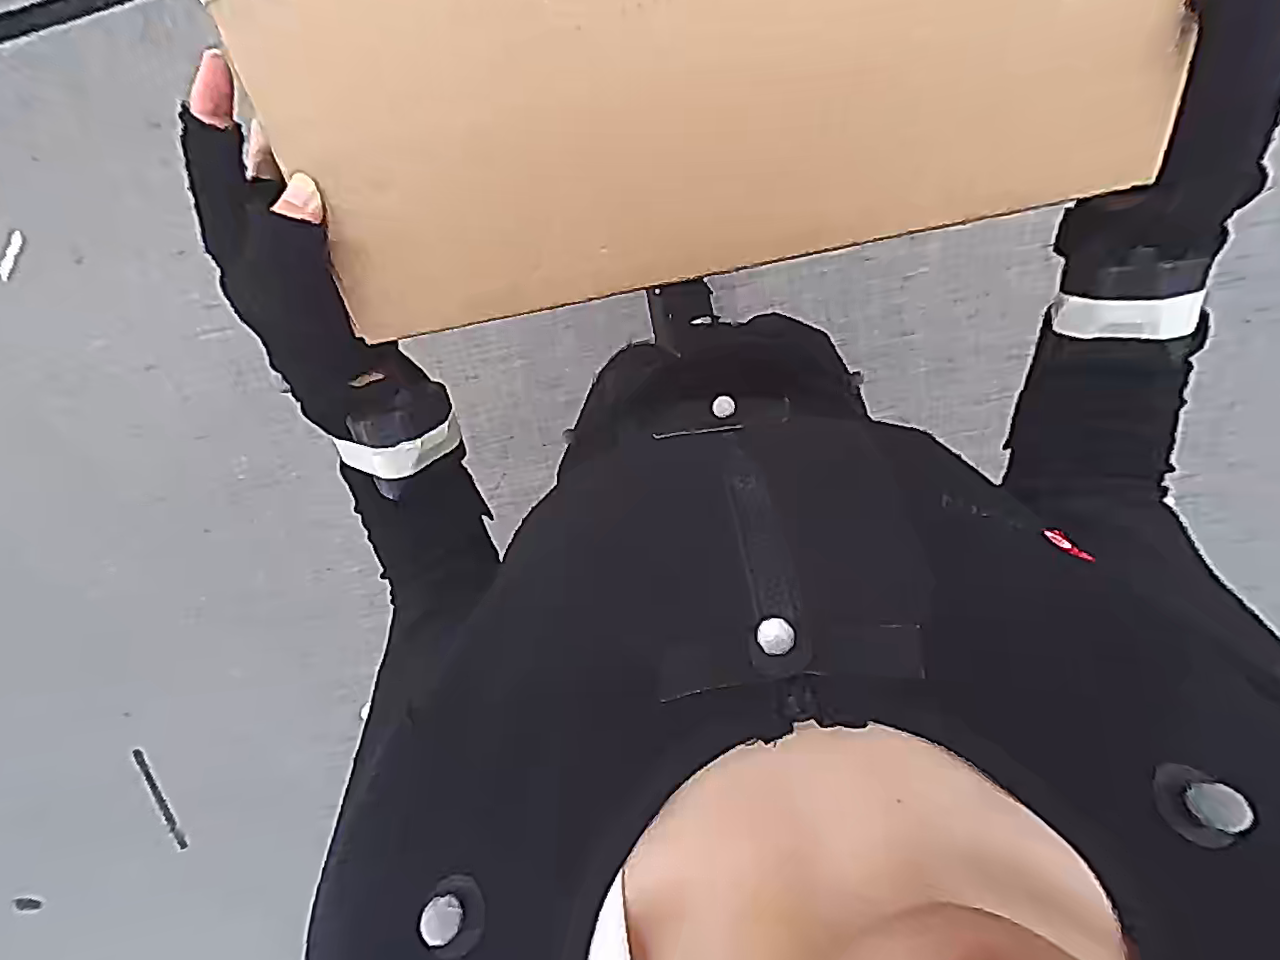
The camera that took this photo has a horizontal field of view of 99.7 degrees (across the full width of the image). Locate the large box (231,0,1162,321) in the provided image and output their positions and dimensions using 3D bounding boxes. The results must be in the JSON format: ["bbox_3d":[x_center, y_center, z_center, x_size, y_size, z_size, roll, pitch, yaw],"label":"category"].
[{"bbox_3d":[0.013,-0.327,0.339,0.408,0.320,0.320,-10,121,5],"label":"large box"}]
